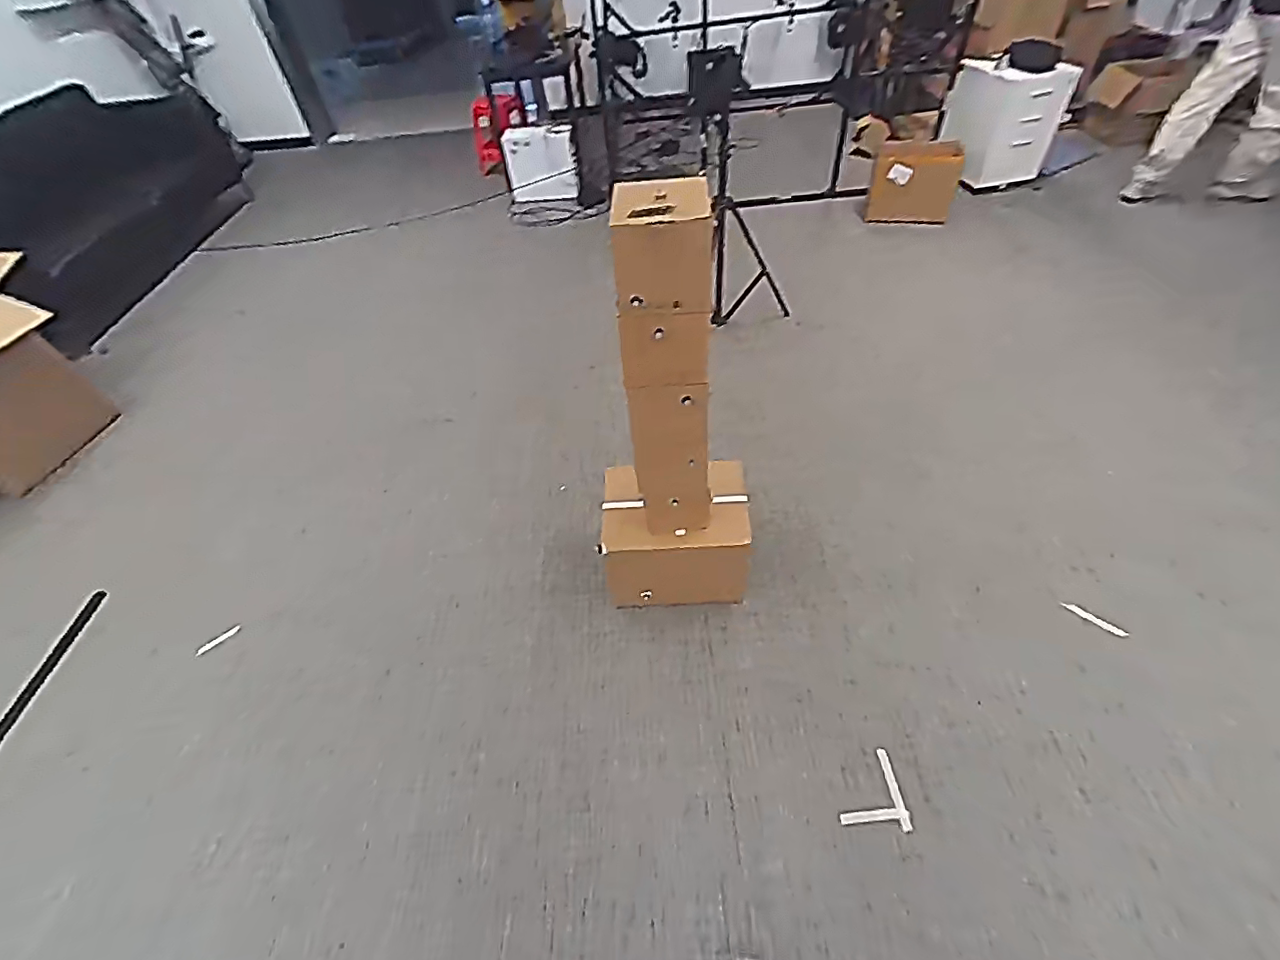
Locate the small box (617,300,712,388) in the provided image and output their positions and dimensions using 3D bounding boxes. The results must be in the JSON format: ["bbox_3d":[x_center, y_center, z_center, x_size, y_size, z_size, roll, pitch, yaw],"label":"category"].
[{"bbox_3d":[0.053,-0.302,1.097,0.179,0.176,0.168,-2,49,5],"label":"small box"}]

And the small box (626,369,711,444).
[{"bbox_3d":[0.067,-0.194,1.217,0.179,0.176,0.168,-2,48,5],"label":"small box"}]

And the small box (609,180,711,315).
[{"bbox_3d":[0.042,-0.412,0.975,0.168,0.176,0.179,-2,48,5],"label":"small box"}]

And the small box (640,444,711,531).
[{"bbox_3d":[0.096,0.025,1.459,0.179,0.176,0.168,-4,49,1],"label":"small box"}]
